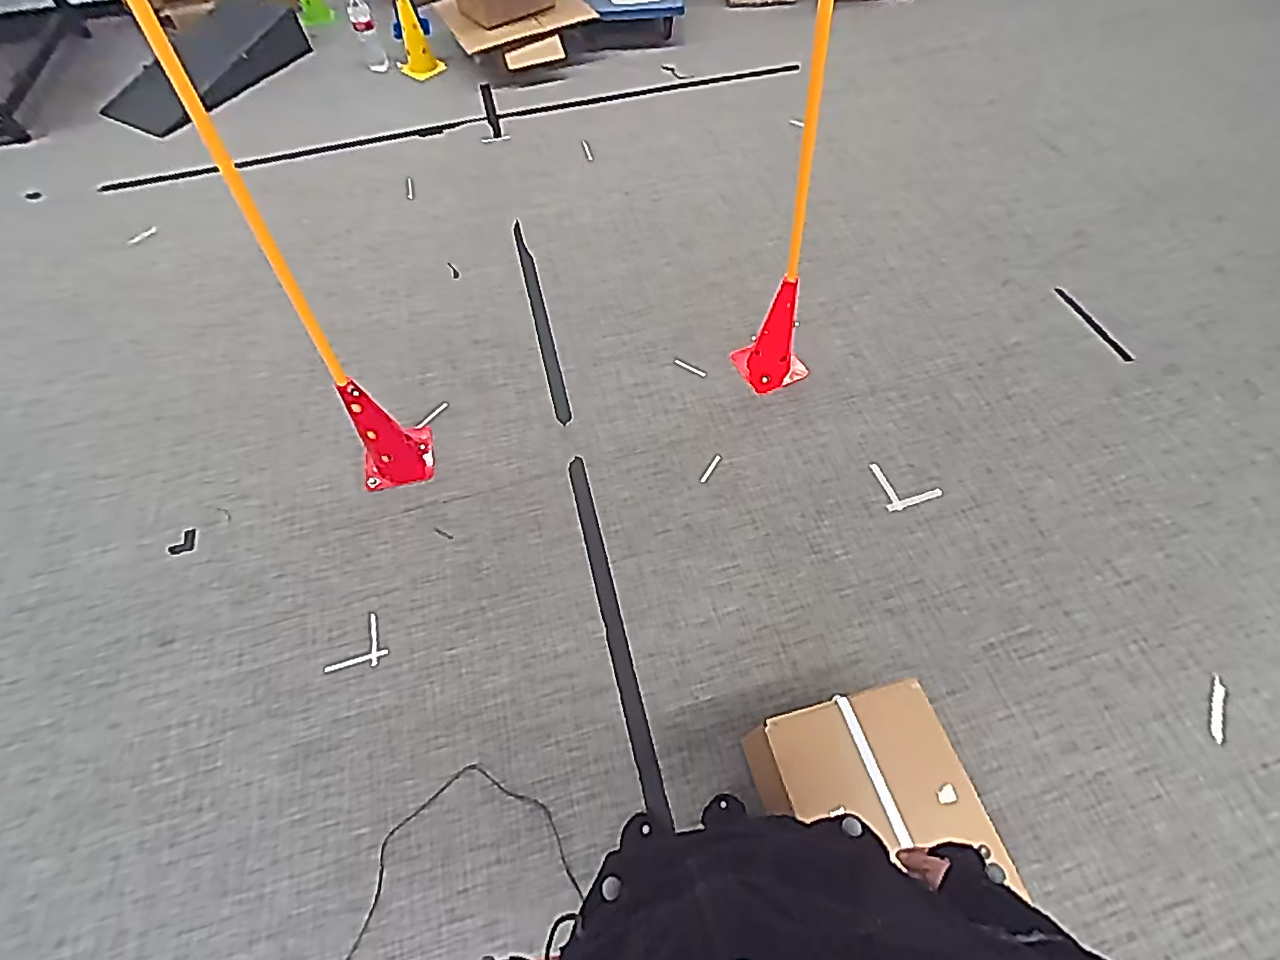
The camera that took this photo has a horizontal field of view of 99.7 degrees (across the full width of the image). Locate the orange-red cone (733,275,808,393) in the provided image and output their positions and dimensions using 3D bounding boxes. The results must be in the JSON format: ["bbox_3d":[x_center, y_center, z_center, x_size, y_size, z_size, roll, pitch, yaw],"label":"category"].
[{"bbox_3d":[0.427,-0.465,1.637,0.199,0.360,0.198,-21,62,-12],"label":"orange-red cone"}]
